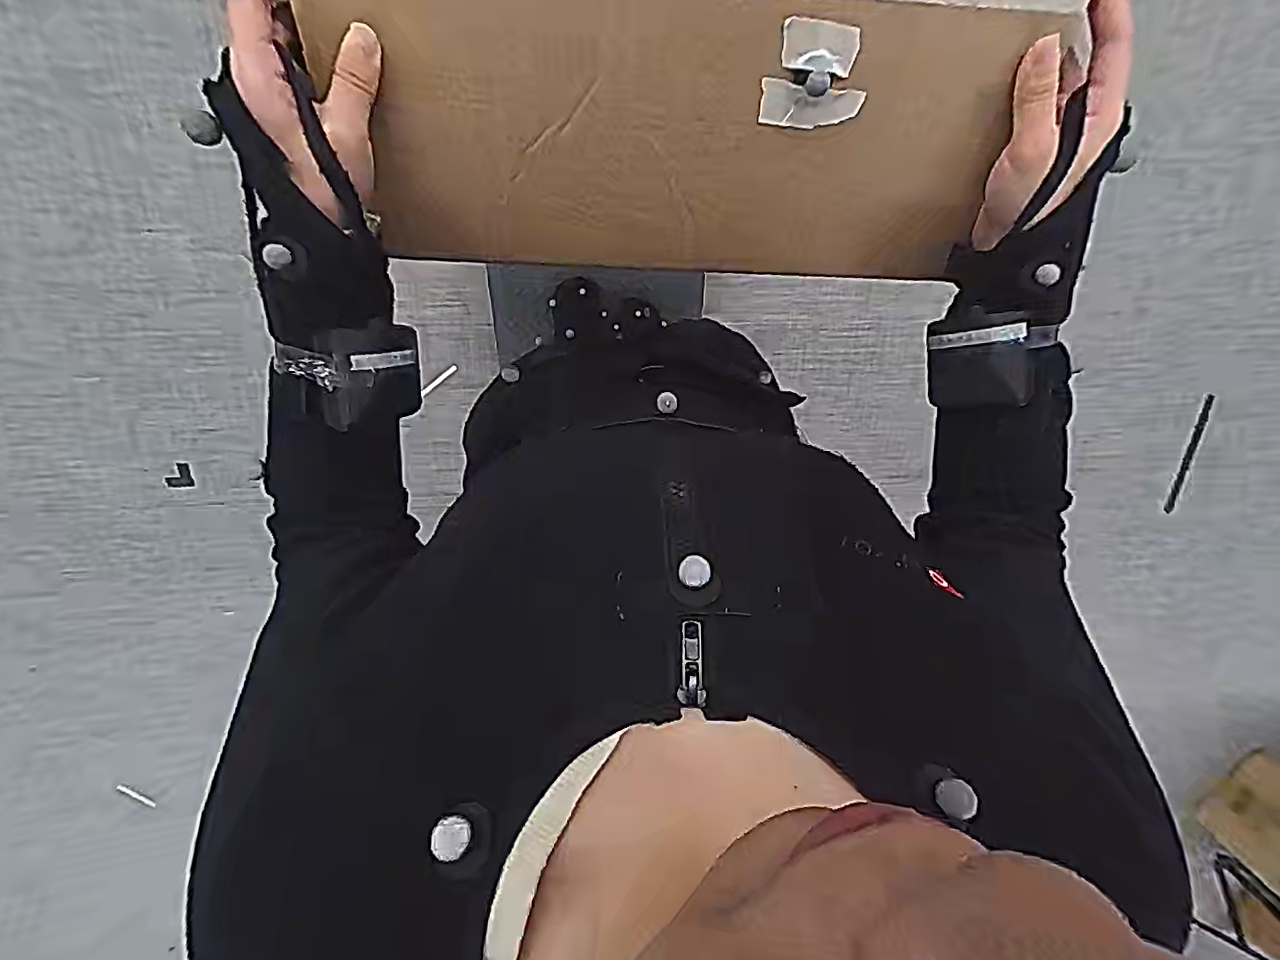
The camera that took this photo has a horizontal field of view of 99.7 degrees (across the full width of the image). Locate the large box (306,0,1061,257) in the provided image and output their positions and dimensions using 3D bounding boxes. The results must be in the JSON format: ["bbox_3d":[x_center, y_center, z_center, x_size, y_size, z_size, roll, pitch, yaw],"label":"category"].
[{"bbox_3d":[0.019,-0.371,0.372,0.408,0.320,0.320,0,136,-5],"label":"large box"}]
